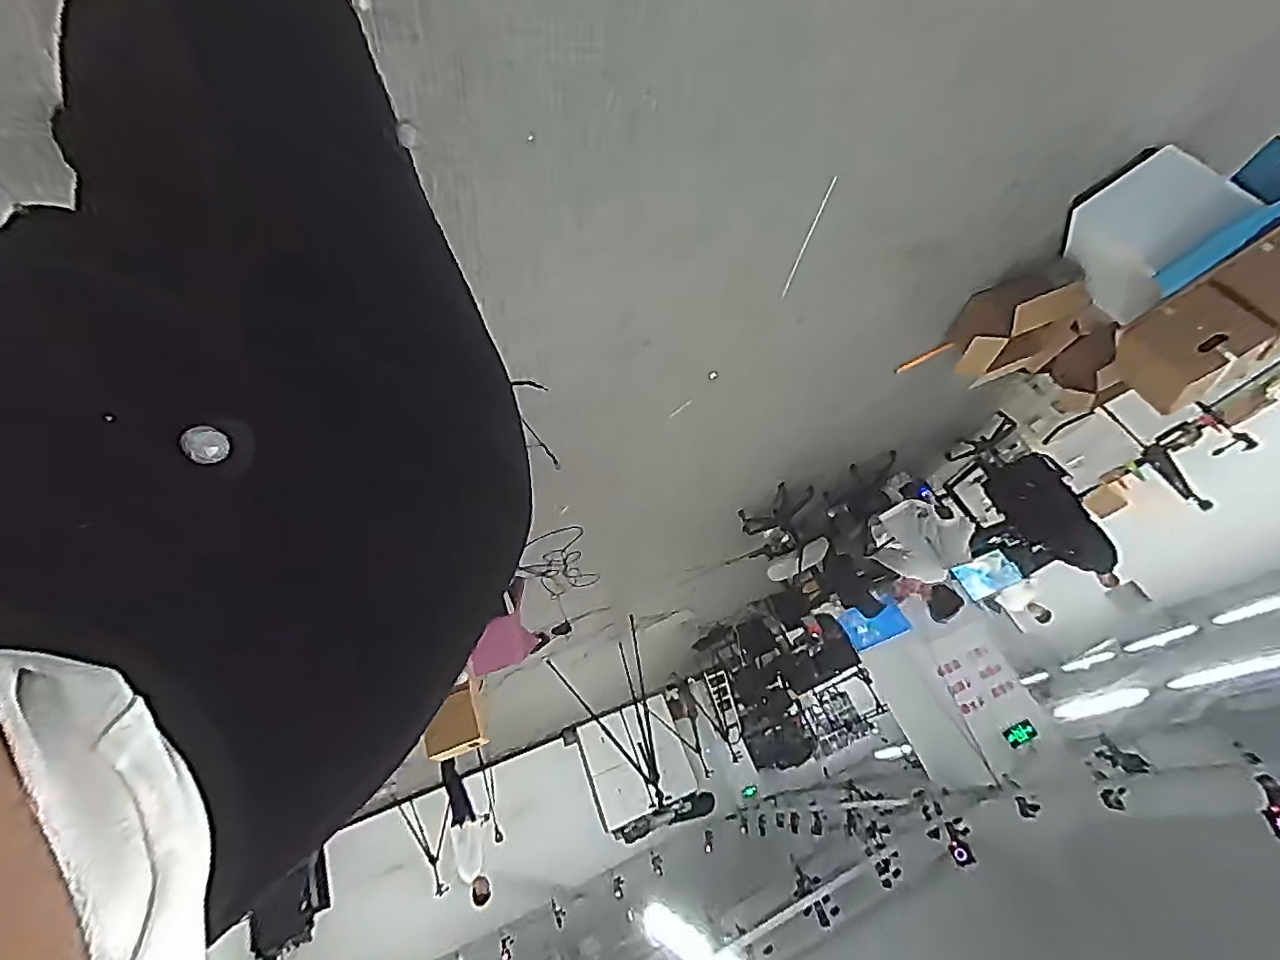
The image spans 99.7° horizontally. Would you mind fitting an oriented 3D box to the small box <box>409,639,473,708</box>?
[{"bbox_3d":[-0.721,0.699,1.953,0.179,0.176,0.168,-18,154,-15],"label":"small box"}]
